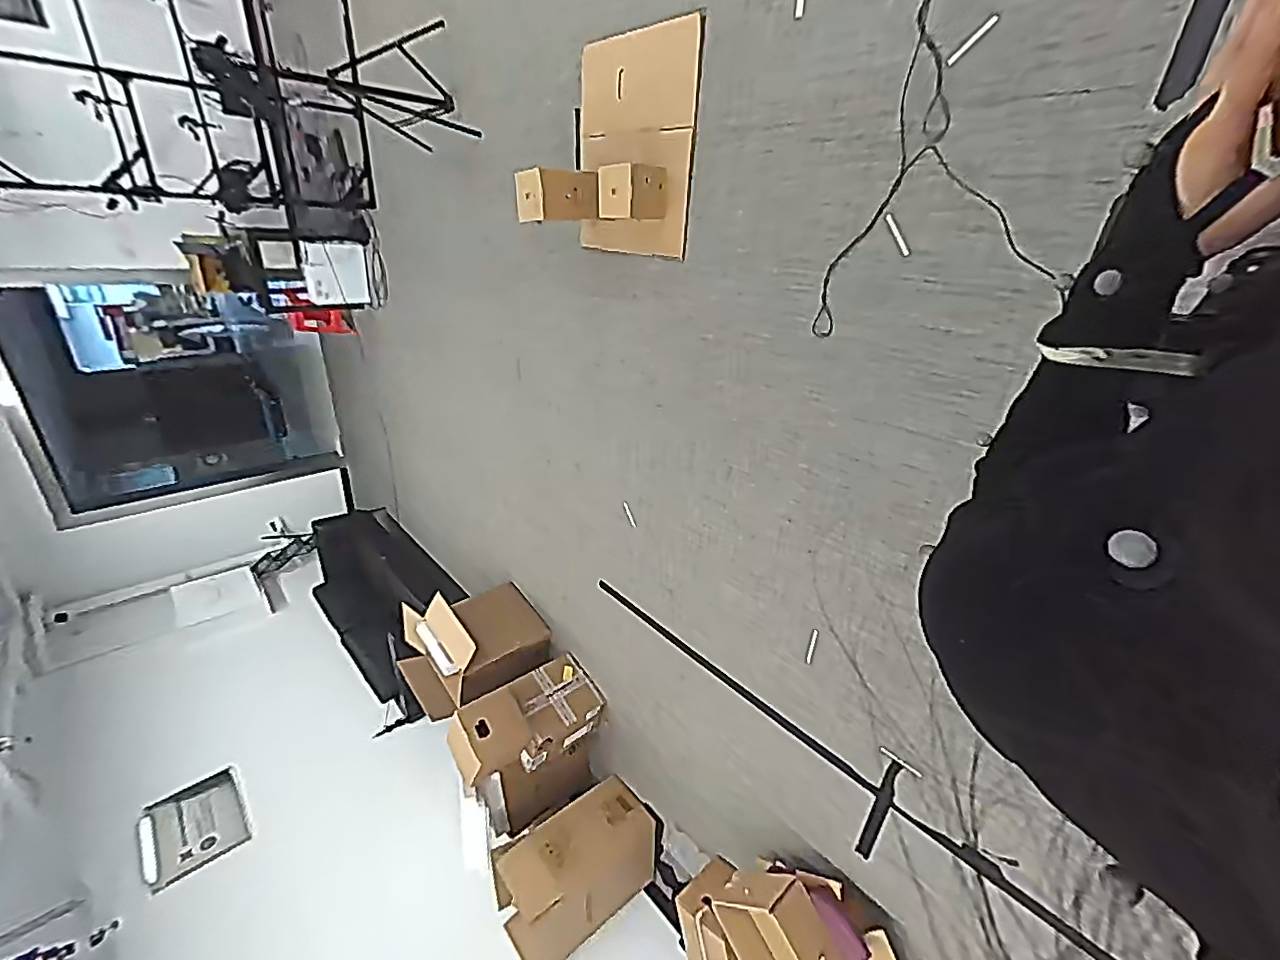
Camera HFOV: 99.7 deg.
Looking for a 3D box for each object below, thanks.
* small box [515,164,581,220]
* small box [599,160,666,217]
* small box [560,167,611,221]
[{"bbox_3d":[-0.338,-1.058,1.995,0.179,0.176,0.168,22,122,44],"label":"small box"},{"bbox_3d":[-0.024,-1.022,1.902,0.179,0.176,0.168,26,123,43],"label":"small box"},{"bbox_3d":[-0.214,-1.104,2.094,0.179,0.176,0.168,19,119,44],"label":"small box"}]
